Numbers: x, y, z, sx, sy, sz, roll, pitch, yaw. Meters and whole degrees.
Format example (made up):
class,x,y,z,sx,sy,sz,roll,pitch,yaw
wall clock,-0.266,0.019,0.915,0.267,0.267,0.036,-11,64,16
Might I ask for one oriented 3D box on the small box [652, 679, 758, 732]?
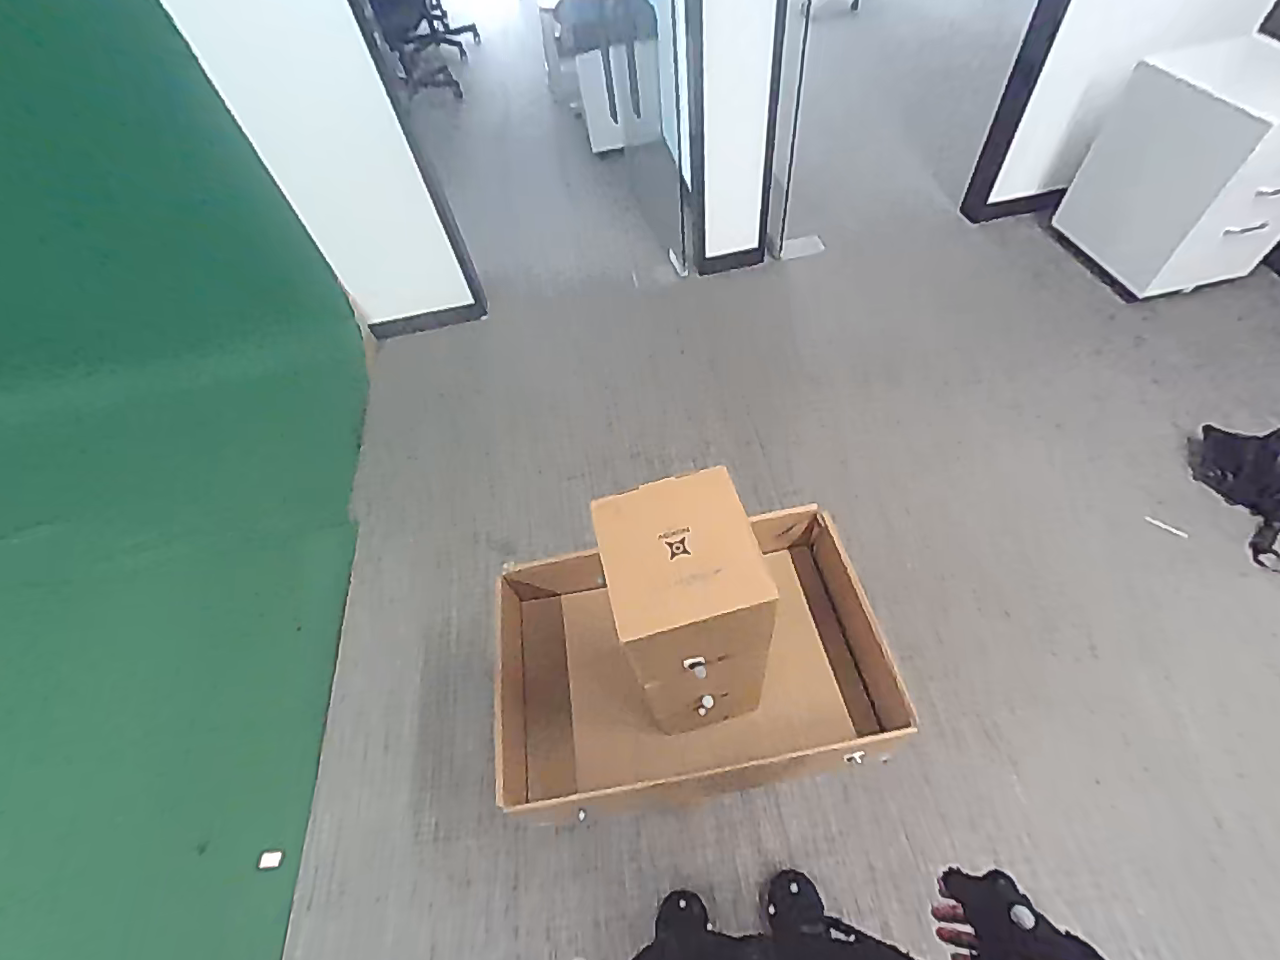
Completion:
class,x,y,z,sx,sy,sz,roll,pitch,yaw
small box,0.090,0.301,0.914,0.168,0.176,0.179,-16,53,-1

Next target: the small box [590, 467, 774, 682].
class,x,y,z,sx,sy,sz,roll,pitch,yaw
small box,0.047,0.117,0.649,0.168,0.176,0.179,-16,55,-1

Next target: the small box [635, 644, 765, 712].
class,x,y,z,sx,sy,sz,roll,pitch,yaw
small box,0.068,0.210,0.779,0.168,0.176,0.179,-15,54,-2
